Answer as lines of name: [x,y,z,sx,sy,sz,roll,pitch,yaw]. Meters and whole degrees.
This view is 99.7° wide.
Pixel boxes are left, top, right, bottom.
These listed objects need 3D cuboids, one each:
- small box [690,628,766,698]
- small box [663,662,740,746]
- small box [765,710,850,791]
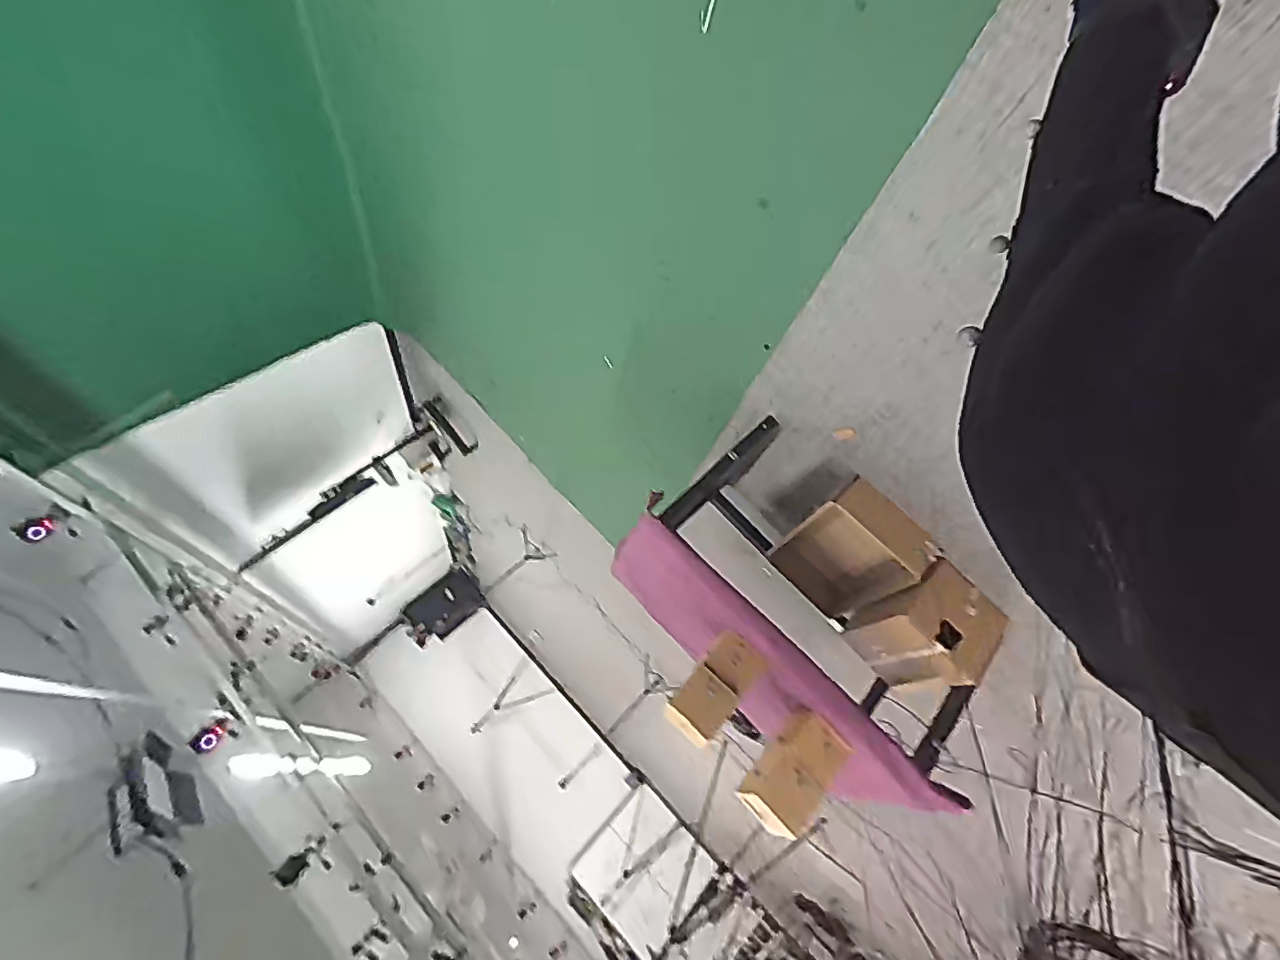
small box: [0.299,0.625,1.820,0.168,0.176,0.179,43,152,13]
small box: [0.195,0.713,1.724,0.168,0.176,0.179,39,151,18]
small box: [0.547,0.872,1.760,0.168,0.176,0.179,46,152,9]
